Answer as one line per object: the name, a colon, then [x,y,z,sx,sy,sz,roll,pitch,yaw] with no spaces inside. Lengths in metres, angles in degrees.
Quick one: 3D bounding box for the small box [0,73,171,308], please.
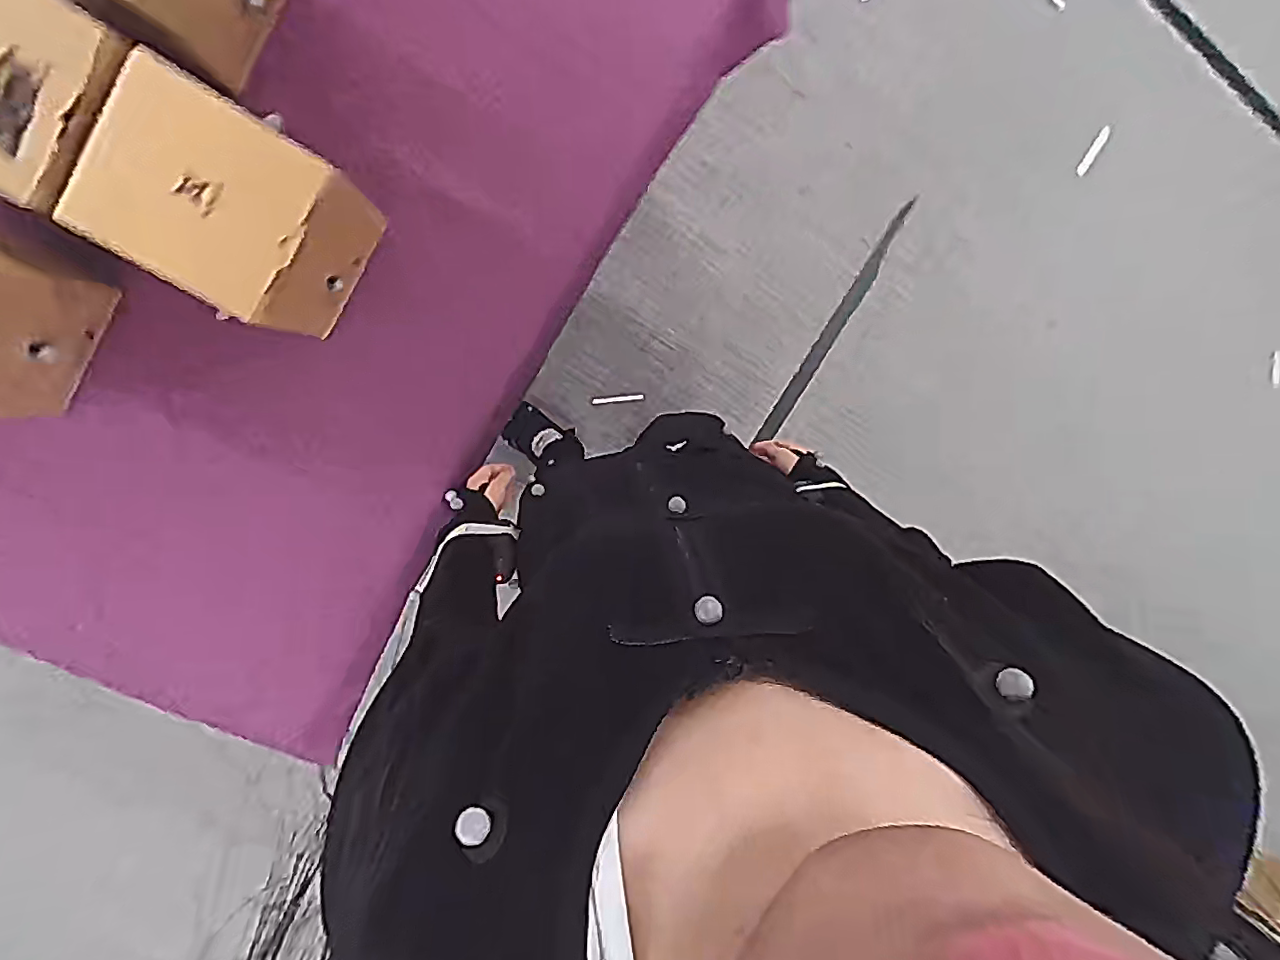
small box: [-0.607,-0.278,0.503,0.179,0.176,0.168,38,94,-18]
